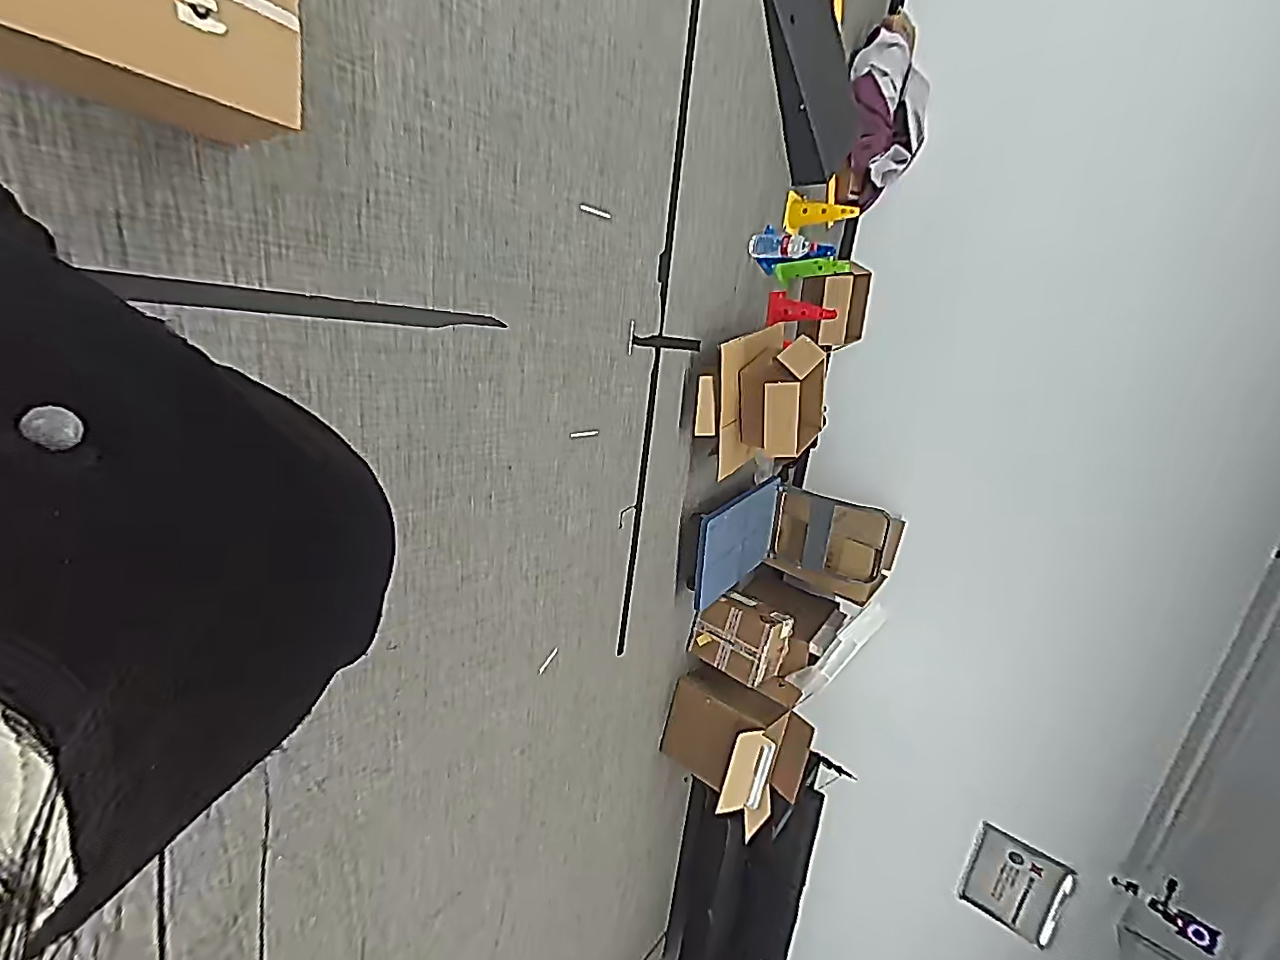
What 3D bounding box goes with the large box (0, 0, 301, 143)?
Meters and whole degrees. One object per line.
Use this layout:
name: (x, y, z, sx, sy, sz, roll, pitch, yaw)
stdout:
large box: (-0.811, -0.775, 0.835, 0.408, 0.320, 0.320, -10, 114, -52)
